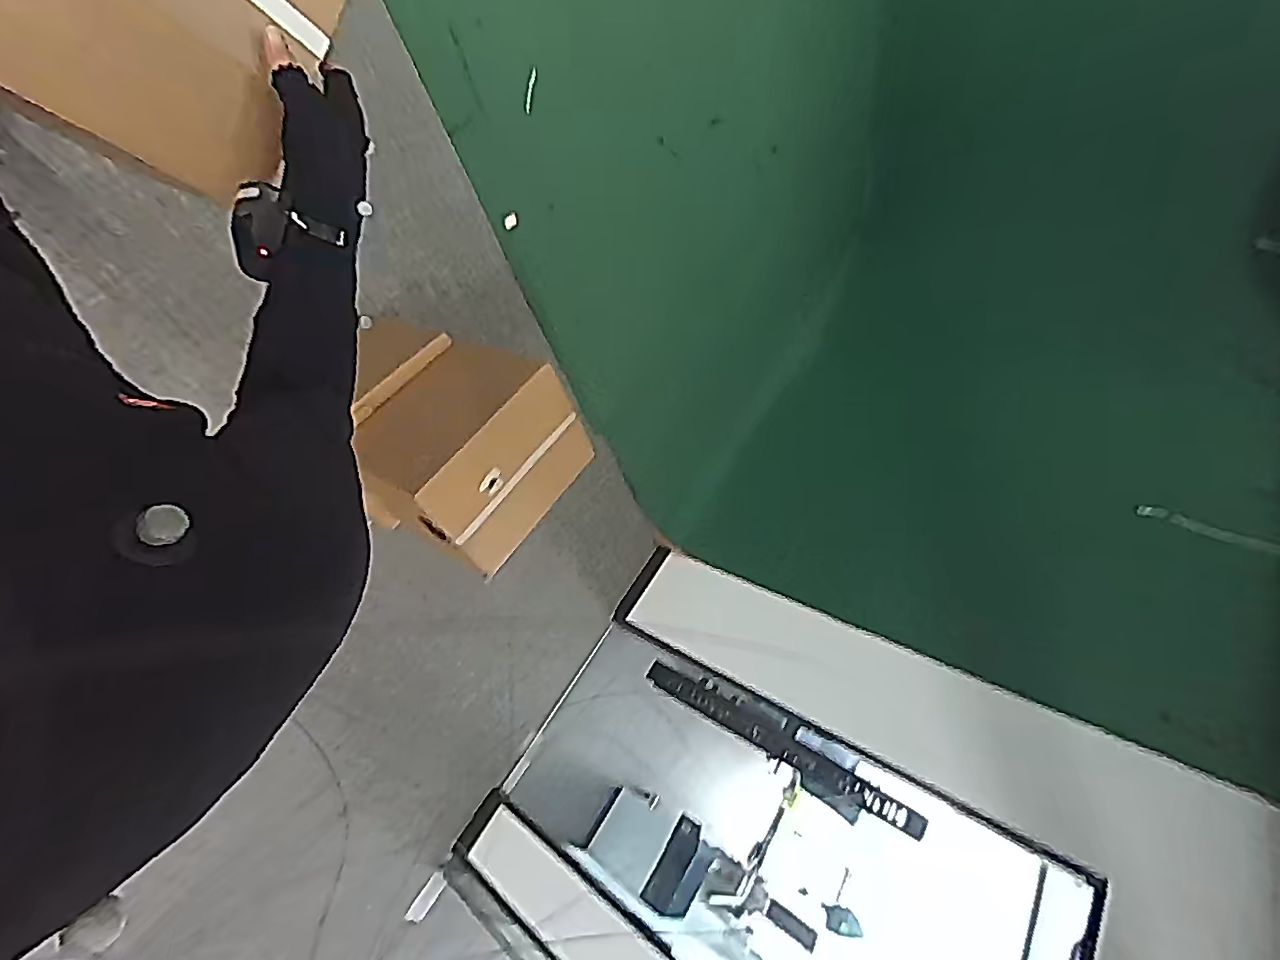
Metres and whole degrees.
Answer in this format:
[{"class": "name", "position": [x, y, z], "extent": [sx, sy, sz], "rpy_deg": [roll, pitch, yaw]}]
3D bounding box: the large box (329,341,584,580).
[{"class": "large box", "position": [-0.400, -0.059, 1.257], "extent": [0.408, 0.320, 0.320], "rpy_deg": [-52, 145, -26]}]
